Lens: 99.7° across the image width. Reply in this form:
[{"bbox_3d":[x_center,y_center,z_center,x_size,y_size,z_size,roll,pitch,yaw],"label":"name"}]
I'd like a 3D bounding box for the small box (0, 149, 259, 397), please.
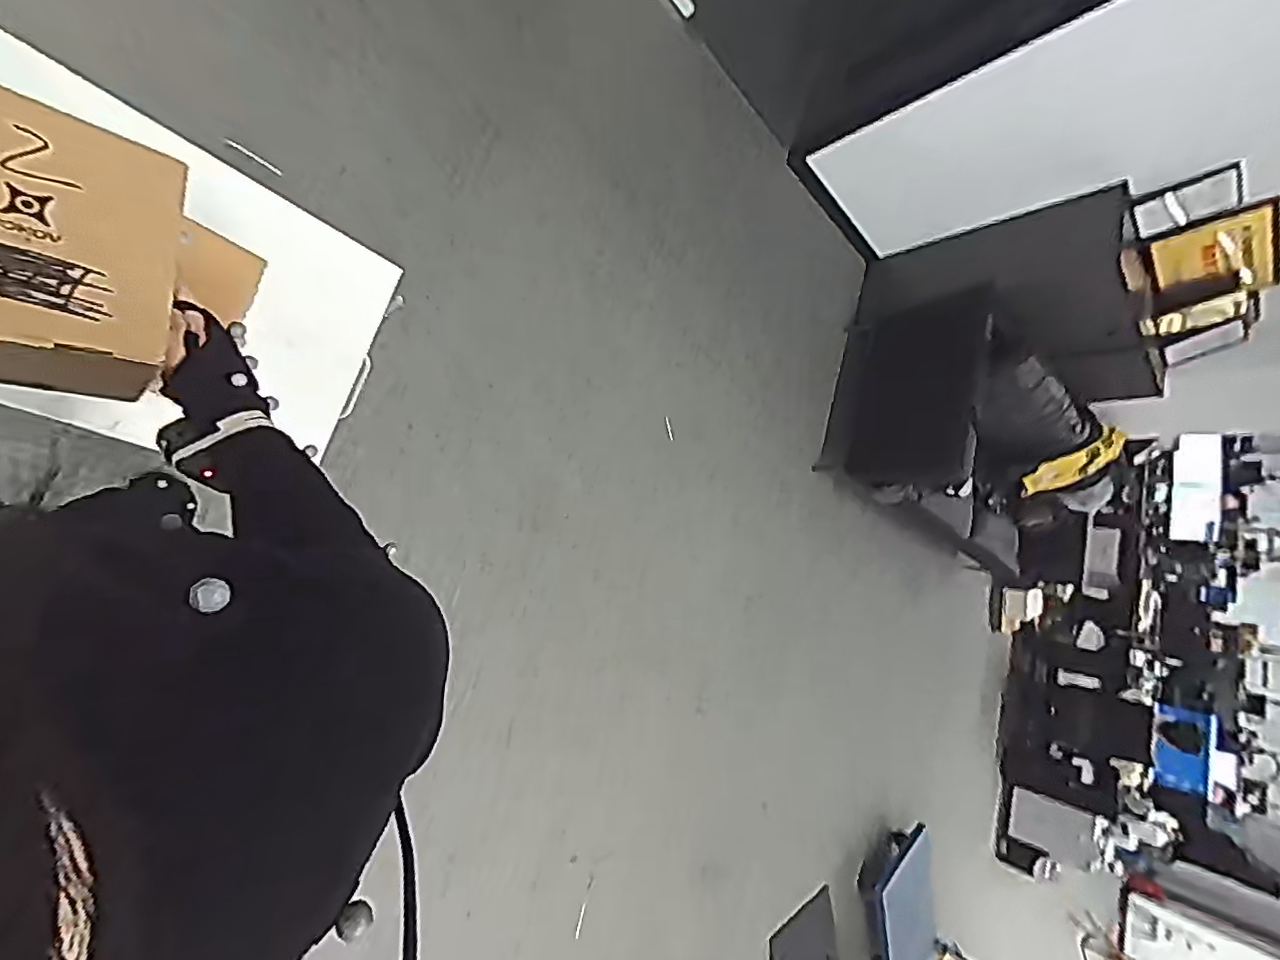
[{"bbox_3d":[-0.569,-0.211,0.607,0.168,0.176,0.179,29,71,-38],"label":"small box"}]
